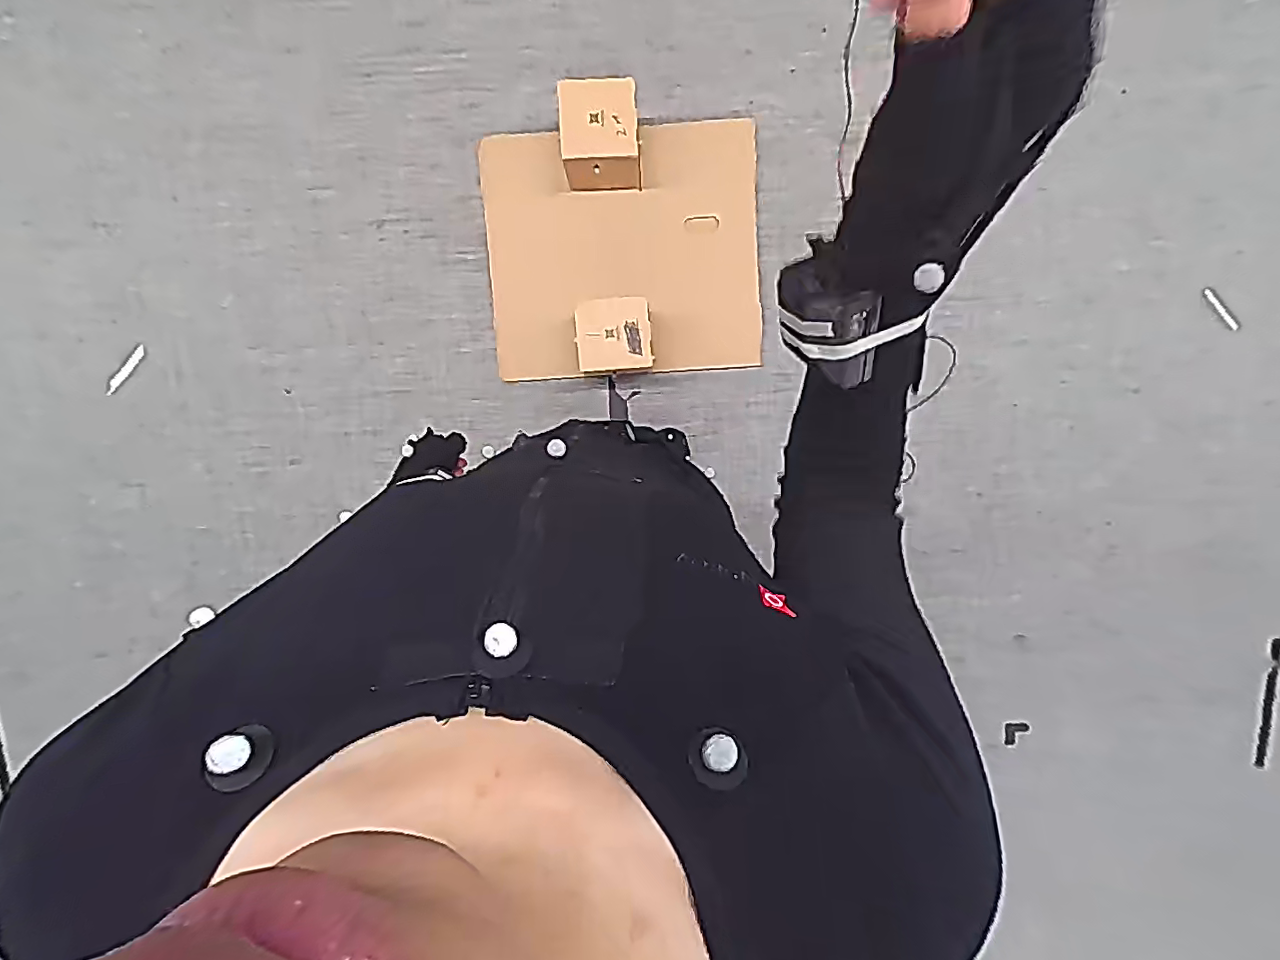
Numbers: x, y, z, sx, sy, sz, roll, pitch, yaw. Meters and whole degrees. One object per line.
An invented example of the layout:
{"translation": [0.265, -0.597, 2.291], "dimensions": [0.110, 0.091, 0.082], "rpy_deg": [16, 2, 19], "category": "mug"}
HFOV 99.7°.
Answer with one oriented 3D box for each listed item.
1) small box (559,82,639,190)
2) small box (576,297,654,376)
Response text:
{"translation": [-0.093, -0.810, 1.287], "dimensions": [0.179, 0.176, 0.168], "rpy_deg": [-2, 97, -1], "category": "small box"}
{"translation": [-0.060, -0.352, 1.346], "dimensions": [0.179, 0.176, 0.168], "rpy_deg": [-4, 98, 0], "category": "small box"}
